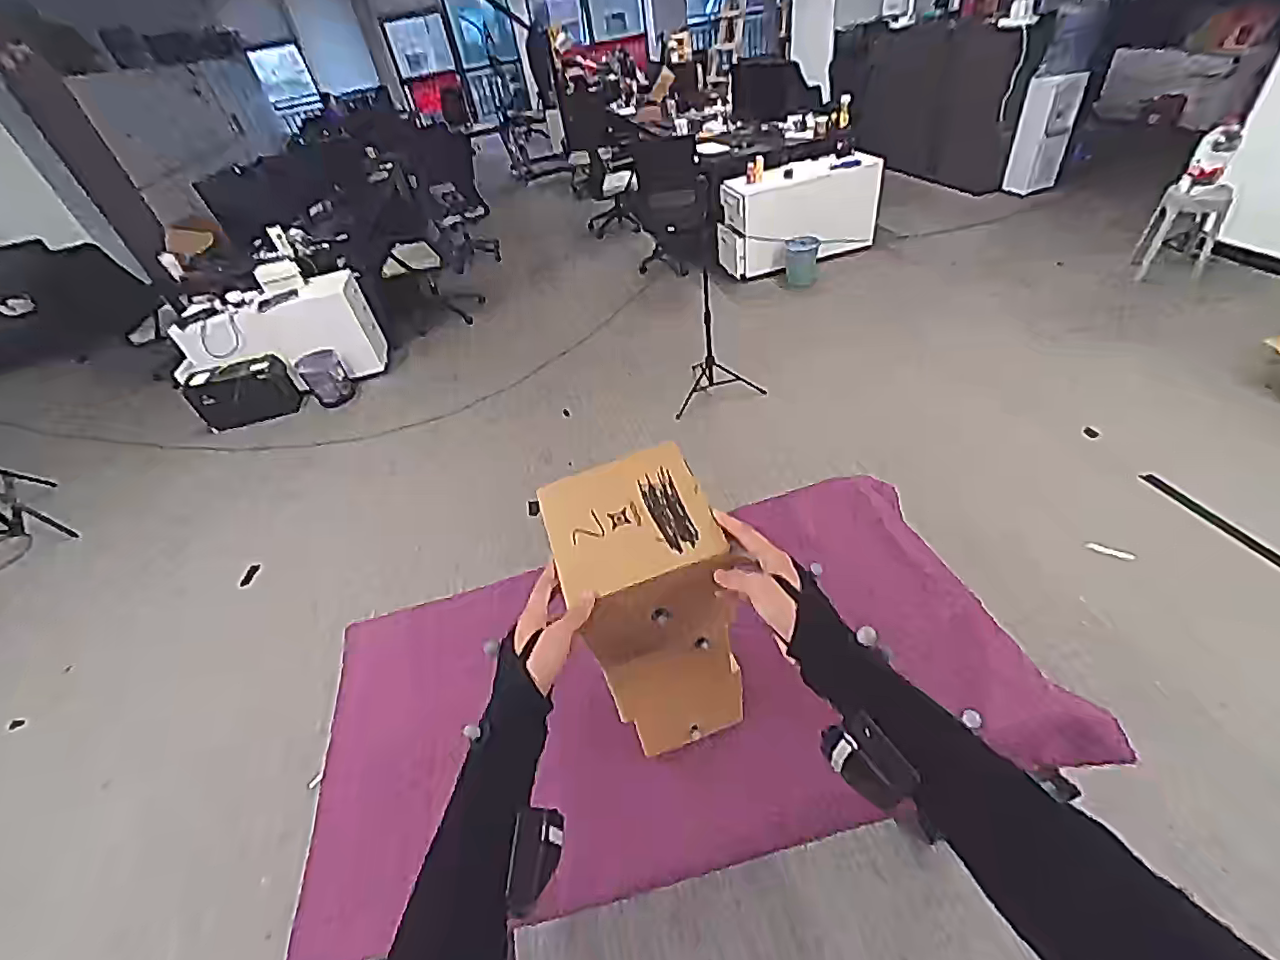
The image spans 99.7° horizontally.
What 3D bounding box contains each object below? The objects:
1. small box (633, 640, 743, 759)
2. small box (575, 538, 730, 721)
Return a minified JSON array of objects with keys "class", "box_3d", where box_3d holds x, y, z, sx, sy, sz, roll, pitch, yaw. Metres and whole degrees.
[{"class":"small box","box_3d":[0.060,0.330,0.907,0.179,0.176,0.168,-17,40,-8]},{"class":"small box","box_3d":[0.021,0.220,0.791,0.179,0.176,0.168,-17,40,-8]}]
